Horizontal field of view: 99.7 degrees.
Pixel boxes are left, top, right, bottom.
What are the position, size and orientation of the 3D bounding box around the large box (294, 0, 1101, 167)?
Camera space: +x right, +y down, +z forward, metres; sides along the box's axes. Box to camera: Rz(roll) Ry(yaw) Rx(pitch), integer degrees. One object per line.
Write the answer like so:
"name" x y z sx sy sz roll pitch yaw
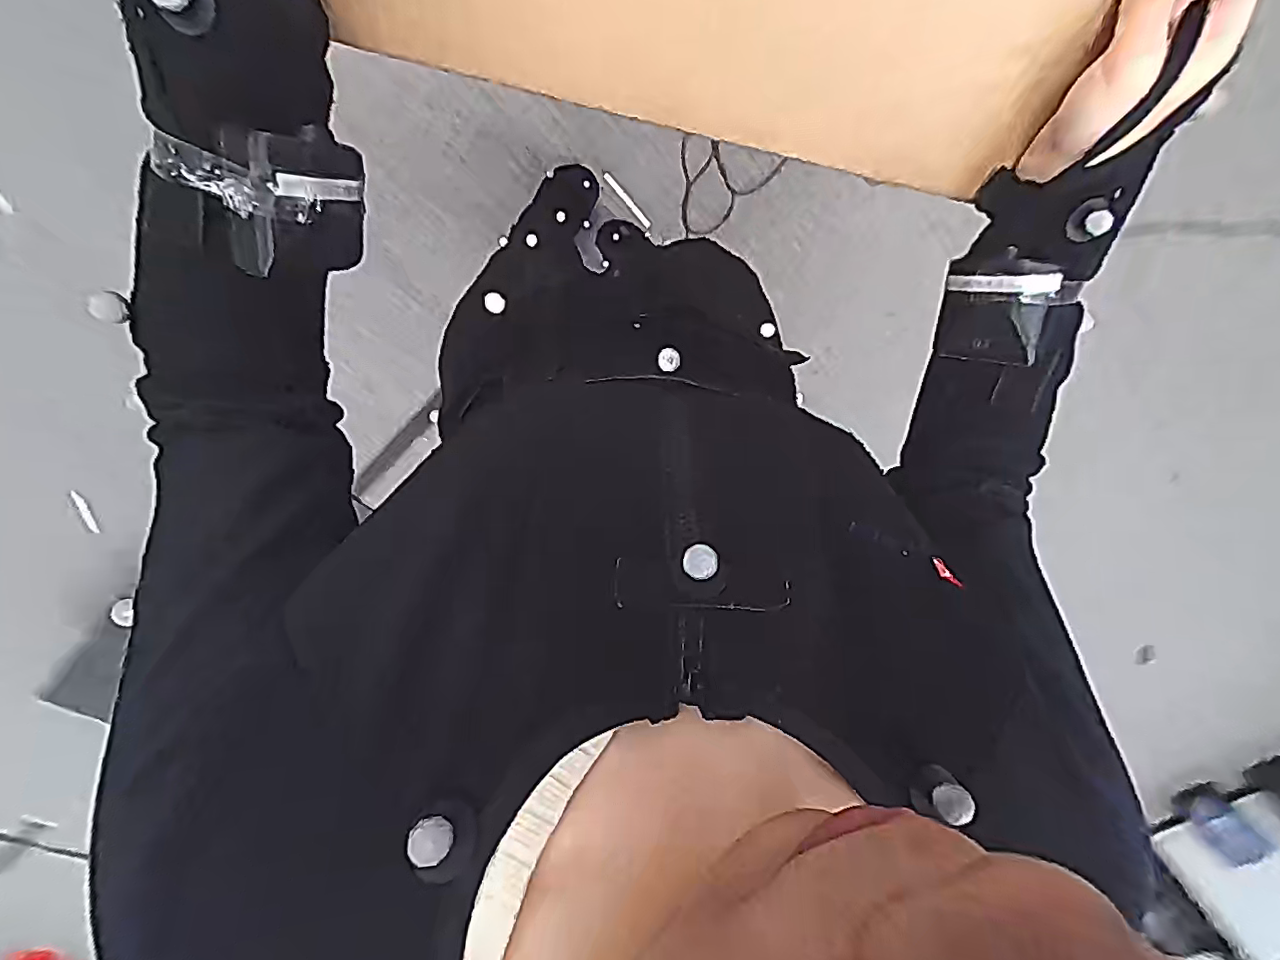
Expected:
"large box" 0.044 -0.417 0.267 0.408 0.320 0.320 4 146 -12
